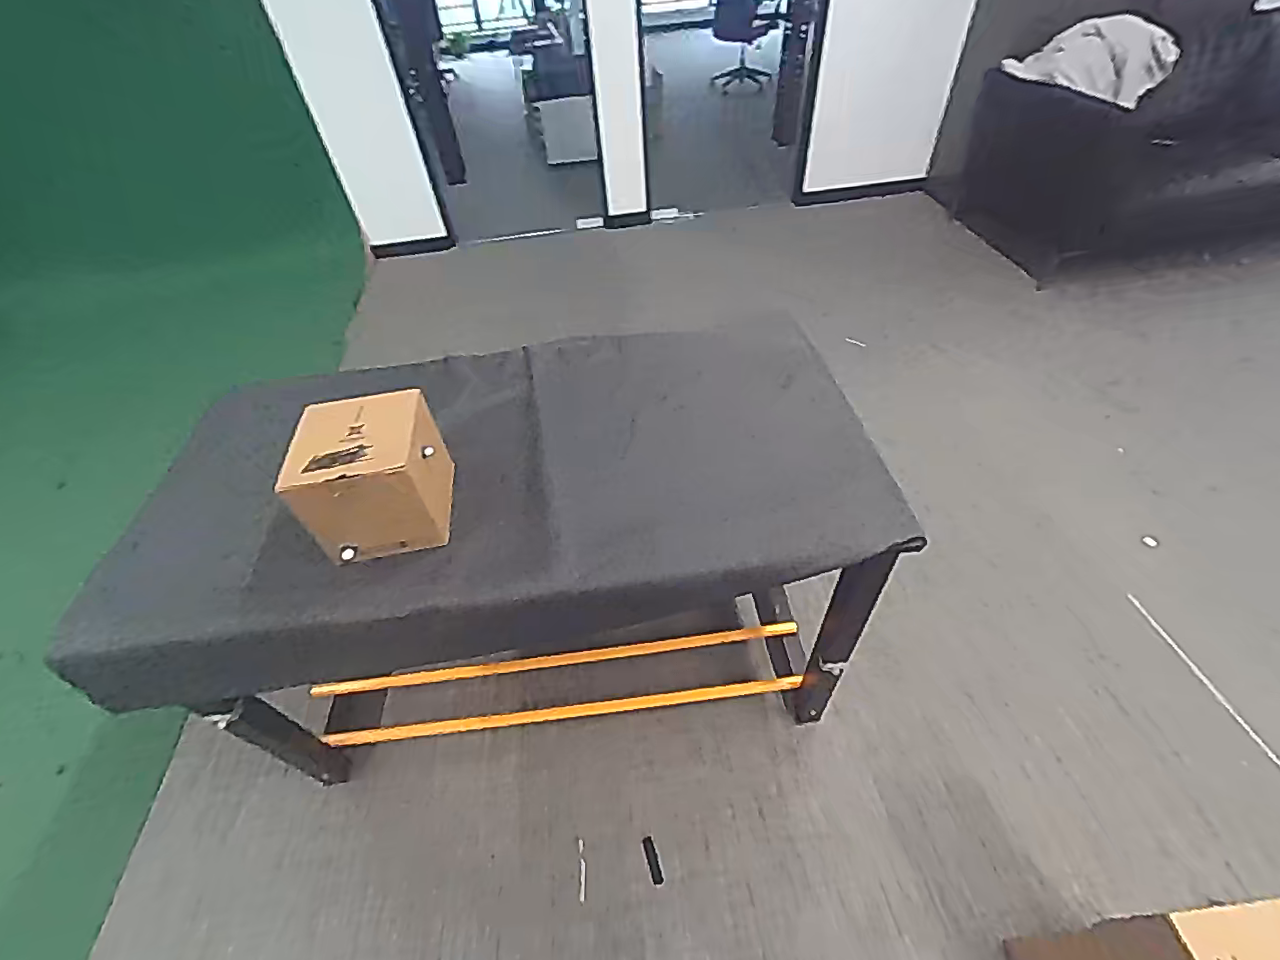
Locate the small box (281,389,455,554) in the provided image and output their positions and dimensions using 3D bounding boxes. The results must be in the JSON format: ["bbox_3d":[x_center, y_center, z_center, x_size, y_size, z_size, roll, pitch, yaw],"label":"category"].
[{"bbox_3d":[-0.384,-0.007,0.804,0.168,0.176,0.179,-10,46,-5],"label":"small box"}]

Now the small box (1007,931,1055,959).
[{"bbox_3d":[0.757,0.857,0.888,0.168,0.176,0.179,-5,48,0],"label":"small box"}]

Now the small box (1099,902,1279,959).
[{"bbox_3d":[0.731,0.627,0.656,0.179,0.176,0.168,-6,47,-1],"label":"small box"}]

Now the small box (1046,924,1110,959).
[{"bbox_3d":[0.742,0.744,0.771,0.168,0.176,0.179,-7,46,-3],"label":"small box"}]
